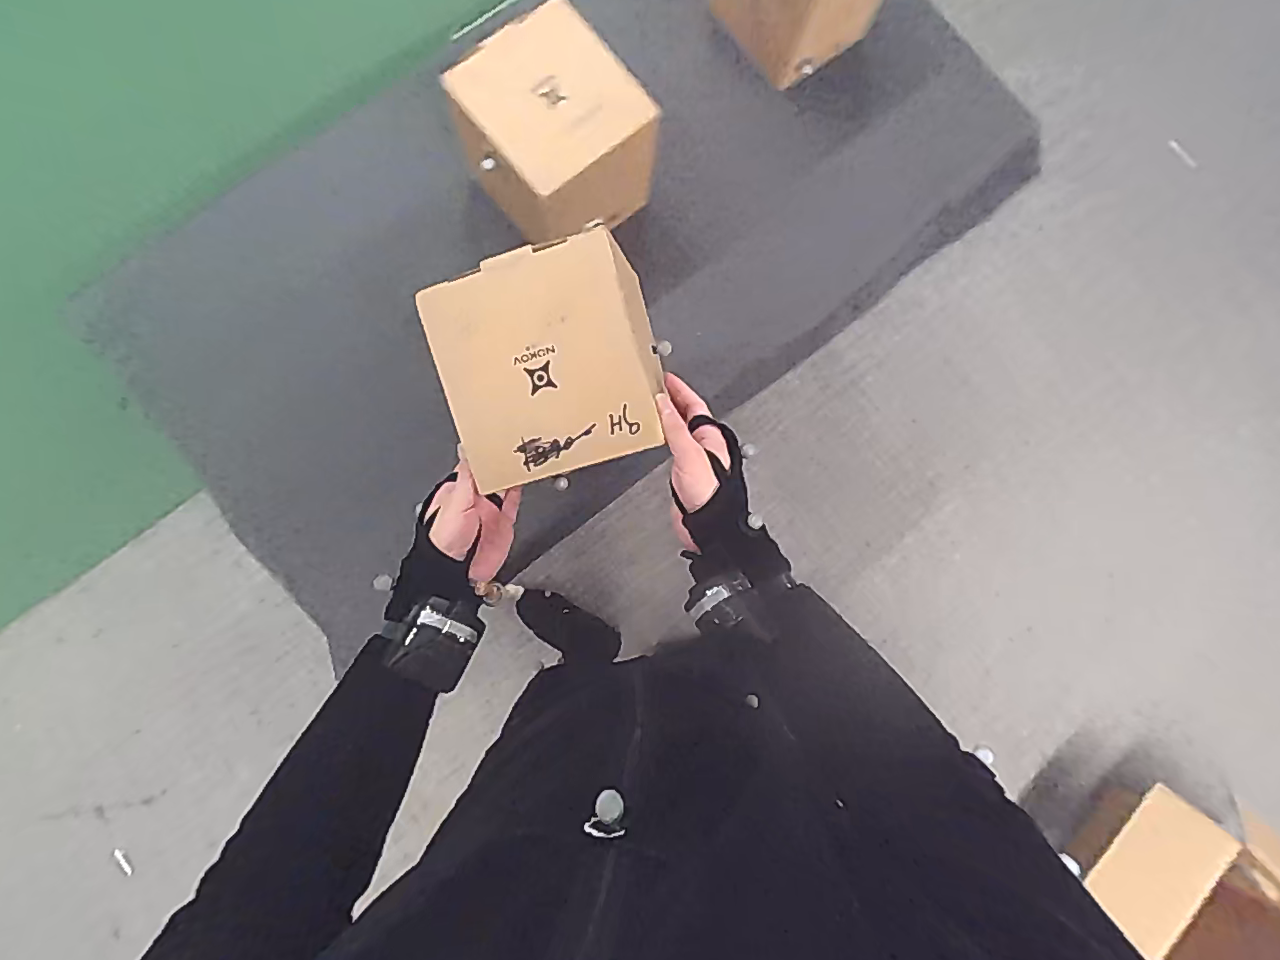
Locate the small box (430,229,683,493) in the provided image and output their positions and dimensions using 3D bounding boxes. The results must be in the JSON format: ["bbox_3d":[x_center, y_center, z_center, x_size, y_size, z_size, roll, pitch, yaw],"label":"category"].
[{"bbox_3d":[-0.060,-0.100,0.507,0.168,0.176,0.179,-14,96,10],"label":"small box"}]

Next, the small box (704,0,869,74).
[{"bbox_3d":[0.207,-0.681,0.704,0.168,0.176,0.179,-38,88,-7],"label":"small box"}]

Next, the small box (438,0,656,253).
[{"bbox_3d":[-0.105,-0.403,0.655,0.168,0.176,0.179,-41,90,-6],"label":"small box"}]
